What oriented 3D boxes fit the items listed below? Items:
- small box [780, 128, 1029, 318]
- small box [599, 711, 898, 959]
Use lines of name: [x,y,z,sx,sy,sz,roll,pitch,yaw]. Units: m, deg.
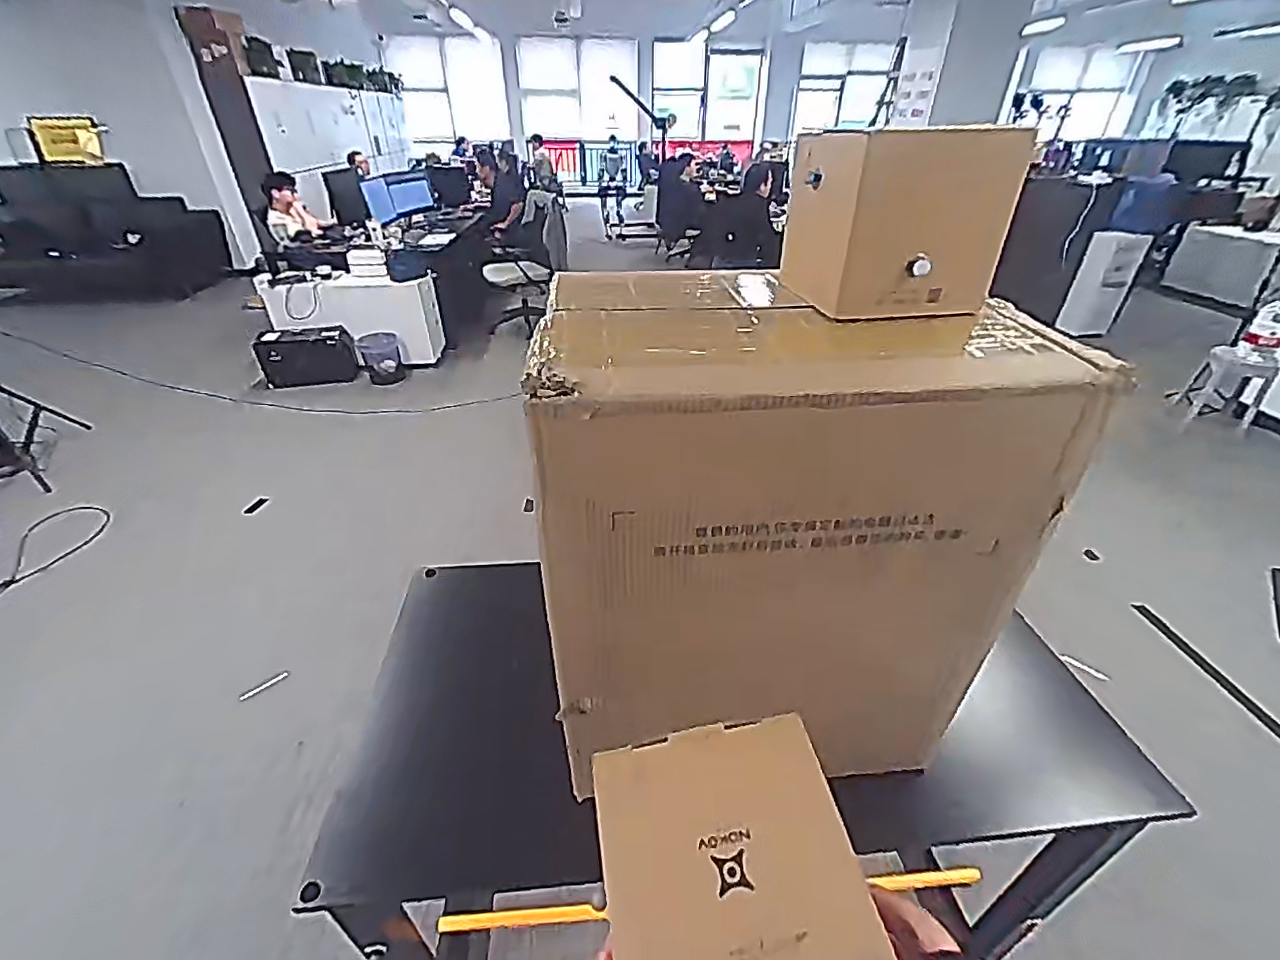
small box: [0.264,-0.285,0.595,0.168,0.176,0.179,-5,33,-5]
small box: [0.065,0.312,0.415,0.168,0.176,0.179,-10,43,-5]
